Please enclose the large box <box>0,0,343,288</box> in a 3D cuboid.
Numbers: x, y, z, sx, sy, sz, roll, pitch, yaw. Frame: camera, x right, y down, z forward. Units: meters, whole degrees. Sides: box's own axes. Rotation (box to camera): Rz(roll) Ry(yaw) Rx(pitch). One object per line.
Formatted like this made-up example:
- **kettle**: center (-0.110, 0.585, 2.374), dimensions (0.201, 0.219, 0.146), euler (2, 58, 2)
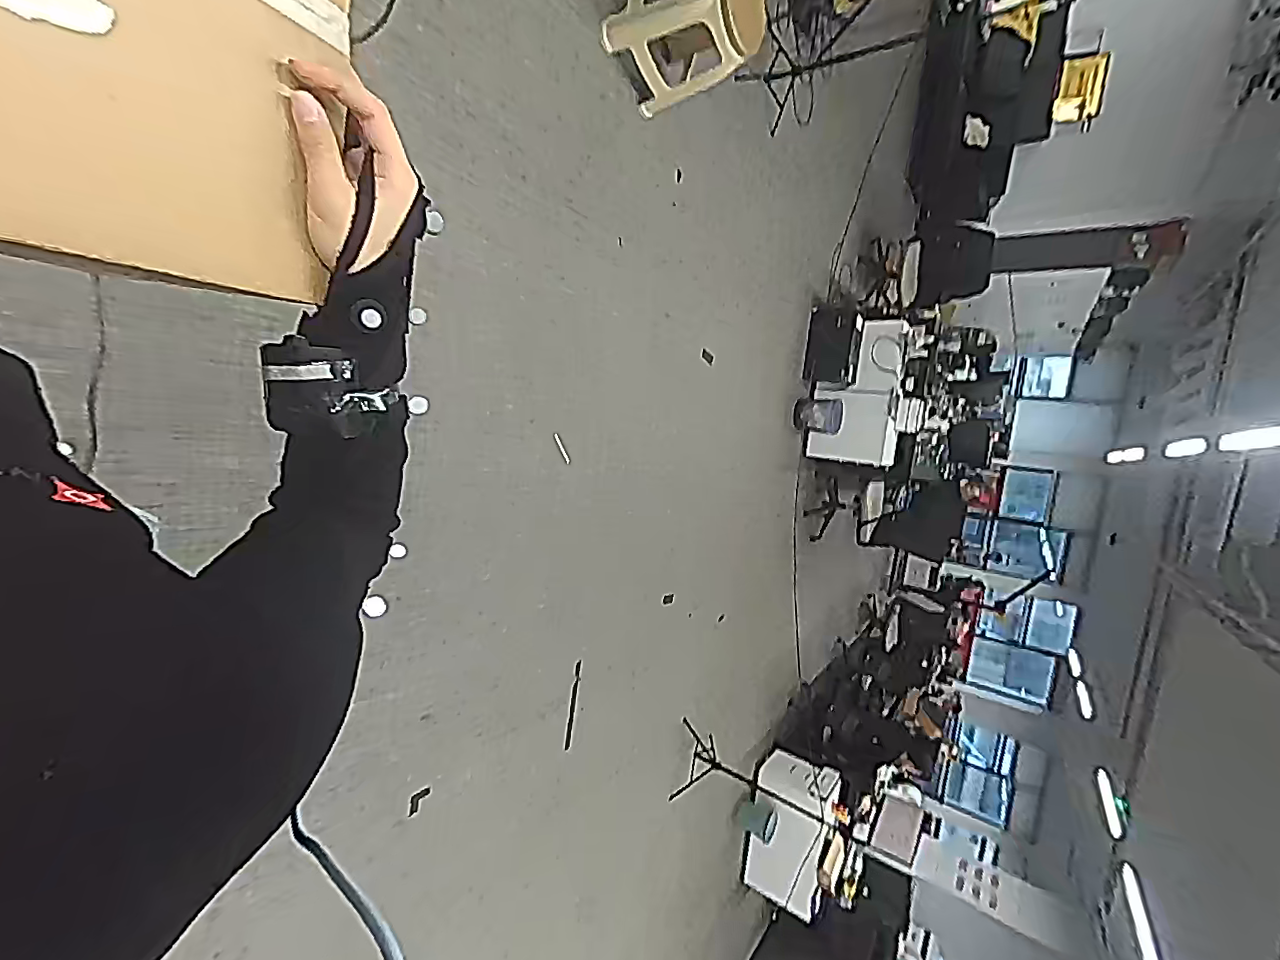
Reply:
- **large box**: center (-0.412, -0.291, 0.232), dimensions (0.408, 0.320, 0.320), euler (-8, 112, -60)
